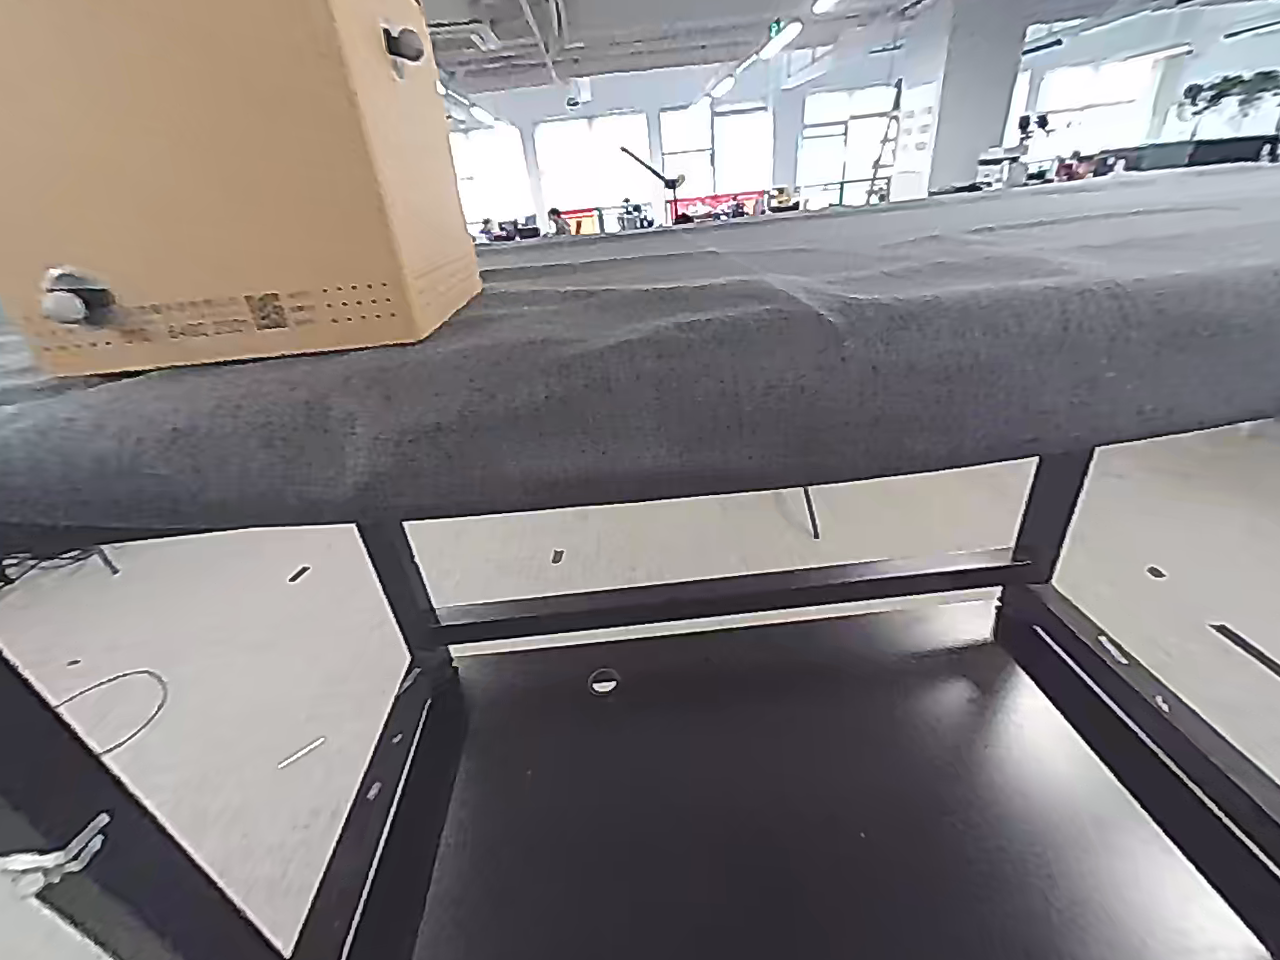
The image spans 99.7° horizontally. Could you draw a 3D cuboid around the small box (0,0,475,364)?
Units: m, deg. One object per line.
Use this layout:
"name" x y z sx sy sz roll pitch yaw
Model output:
"small box" -0.194 -0.161 0.281 0.168 0.176 0.179 -7 26 -3
